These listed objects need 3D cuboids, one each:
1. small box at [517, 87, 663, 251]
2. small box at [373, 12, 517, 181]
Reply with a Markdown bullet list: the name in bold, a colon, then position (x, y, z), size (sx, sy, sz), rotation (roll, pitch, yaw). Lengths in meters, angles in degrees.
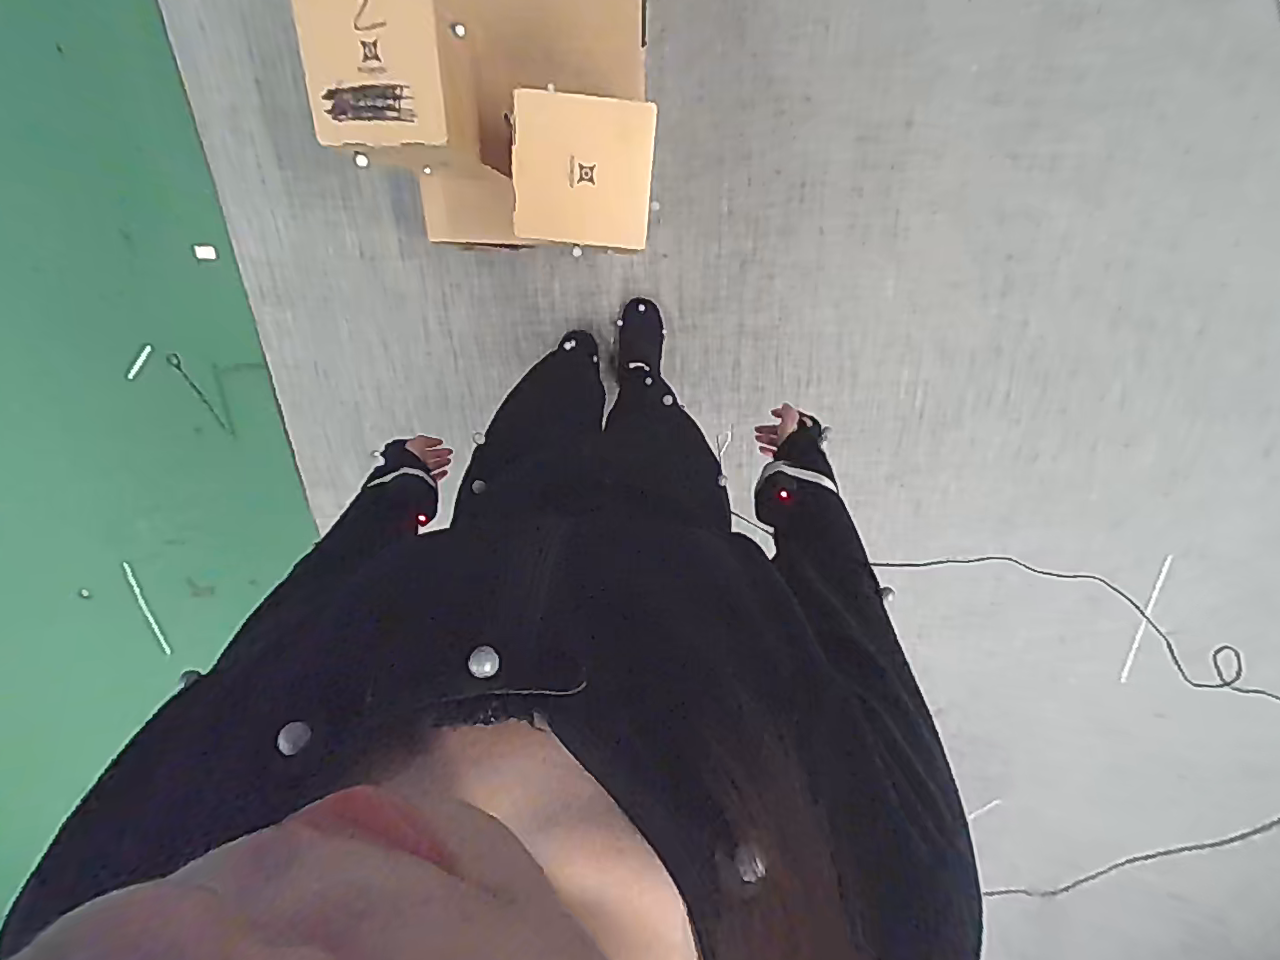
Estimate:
- **small box**: position (-0.066, -0.415, 0.746), size (0.179, 0.176, 0.168), rotation (5, 113, -1)
- **small box**: position (-0.296, -0.591, 0.856), size (0.168, 0.176, 0.179), rotation (5, 112, 1)
